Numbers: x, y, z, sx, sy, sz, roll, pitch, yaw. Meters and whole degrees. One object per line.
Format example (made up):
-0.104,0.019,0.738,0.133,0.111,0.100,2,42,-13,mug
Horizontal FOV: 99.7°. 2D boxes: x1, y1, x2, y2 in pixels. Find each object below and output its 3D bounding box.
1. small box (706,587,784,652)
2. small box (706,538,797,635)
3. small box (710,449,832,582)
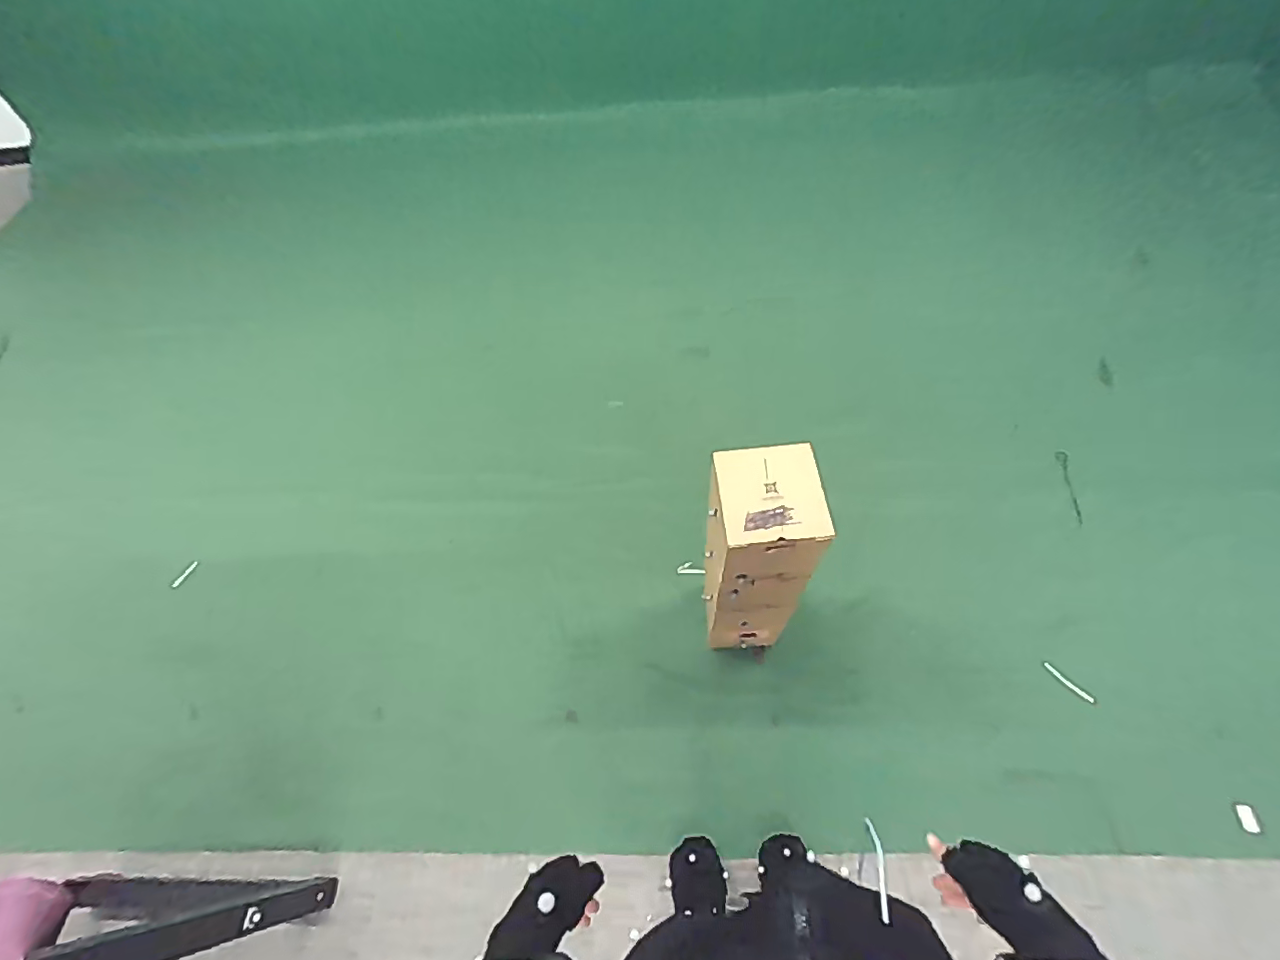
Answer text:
0.256,0.321,1.358,0.168,0.176,0.179,-4,59,4,small box
0.241,0.239,1.219,0.168,0.176,0.179,-5,60,2,small box
0.215,0.069,0.939,0.168,0.176,0.179,-5,59,1,small box
